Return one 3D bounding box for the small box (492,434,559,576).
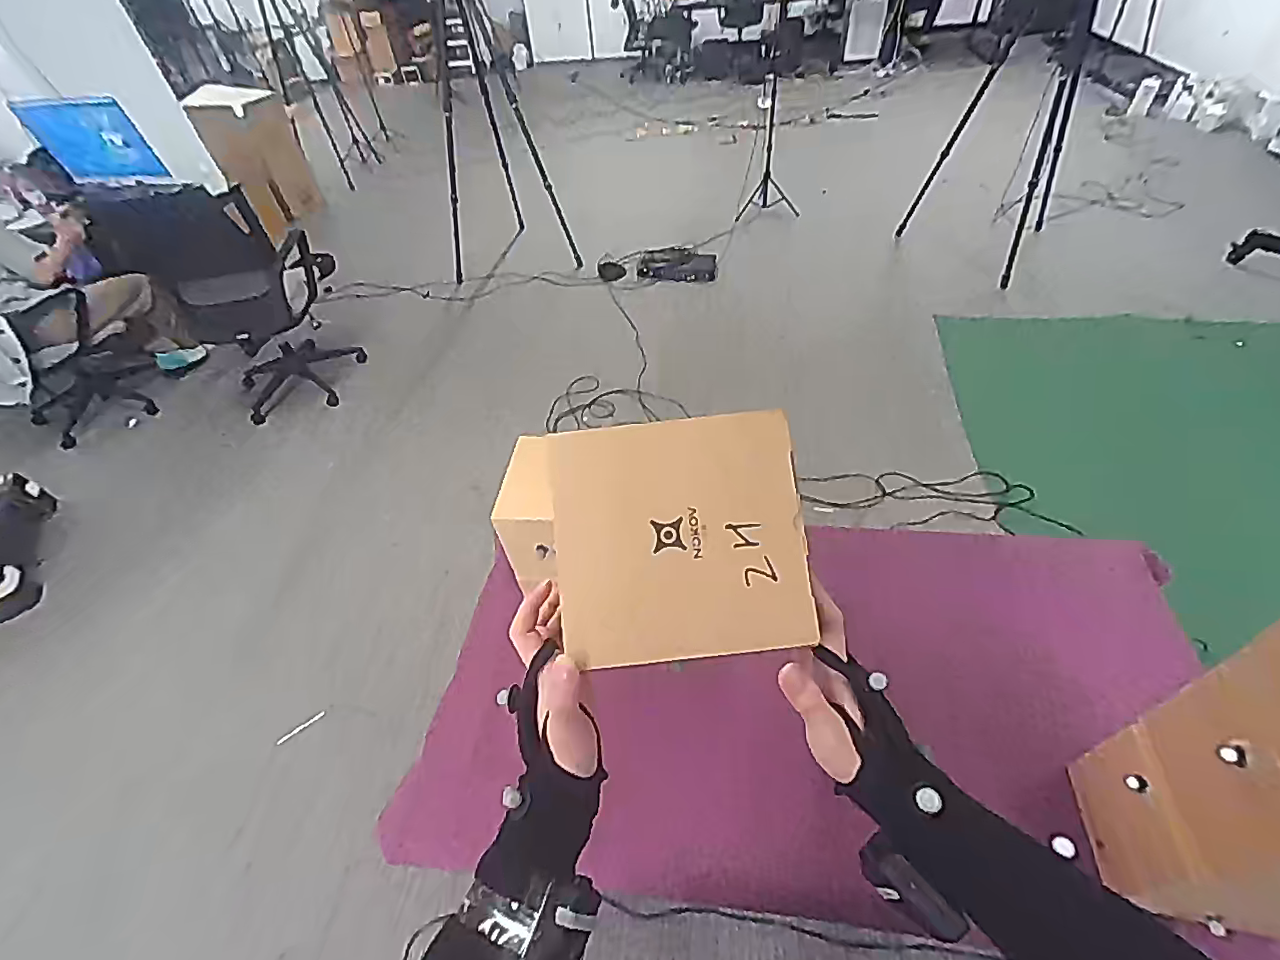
[{"bbox_3d":[-0.115,0.044,0.868,0.168,0.176,0.179,0,47,7],"label":"small box"}]

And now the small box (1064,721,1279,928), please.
[{"bbox_3d":[0.673,0.420,0.657,0.179,0.176,0.168,6,47,11],"label":"small box"}]

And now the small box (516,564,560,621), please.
[{"bbox_3d":[-0.107,0.149,0.991,0.179,0.176,0.168,0,48,7],"label":"small box"}]

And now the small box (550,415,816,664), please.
[{"bbox_3d":[0.028,0.052,0.457,0.179,0.176,0.168,-5,81,-2],"label":"small box"}]
